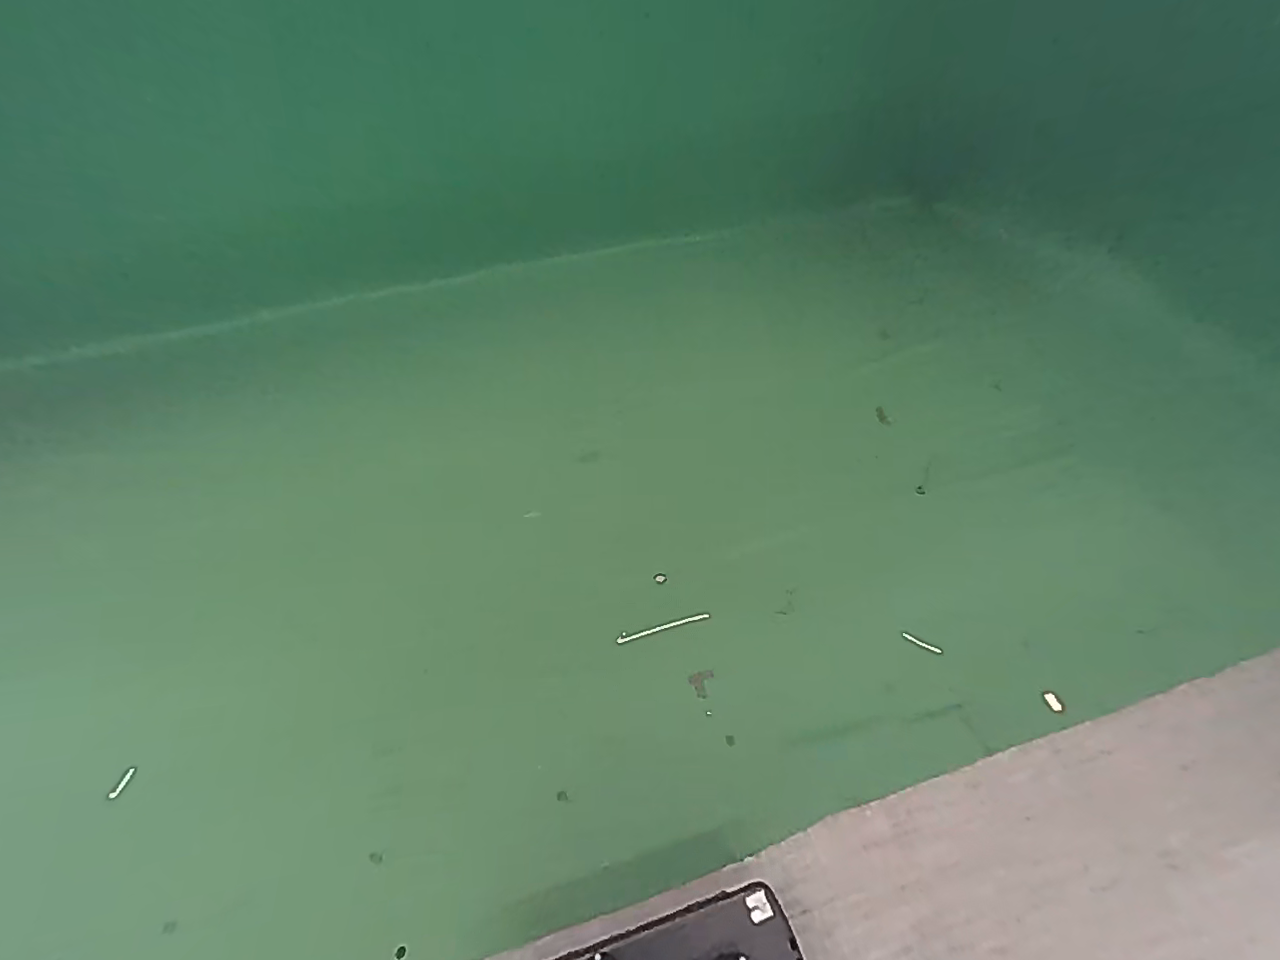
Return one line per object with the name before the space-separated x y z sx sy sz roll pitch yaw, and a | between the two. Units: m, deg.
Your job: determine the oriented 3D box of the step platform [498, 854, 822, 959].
step platform | -0.006 0.967 0.993 0.684 0.204 0.286 -15 53 -9
